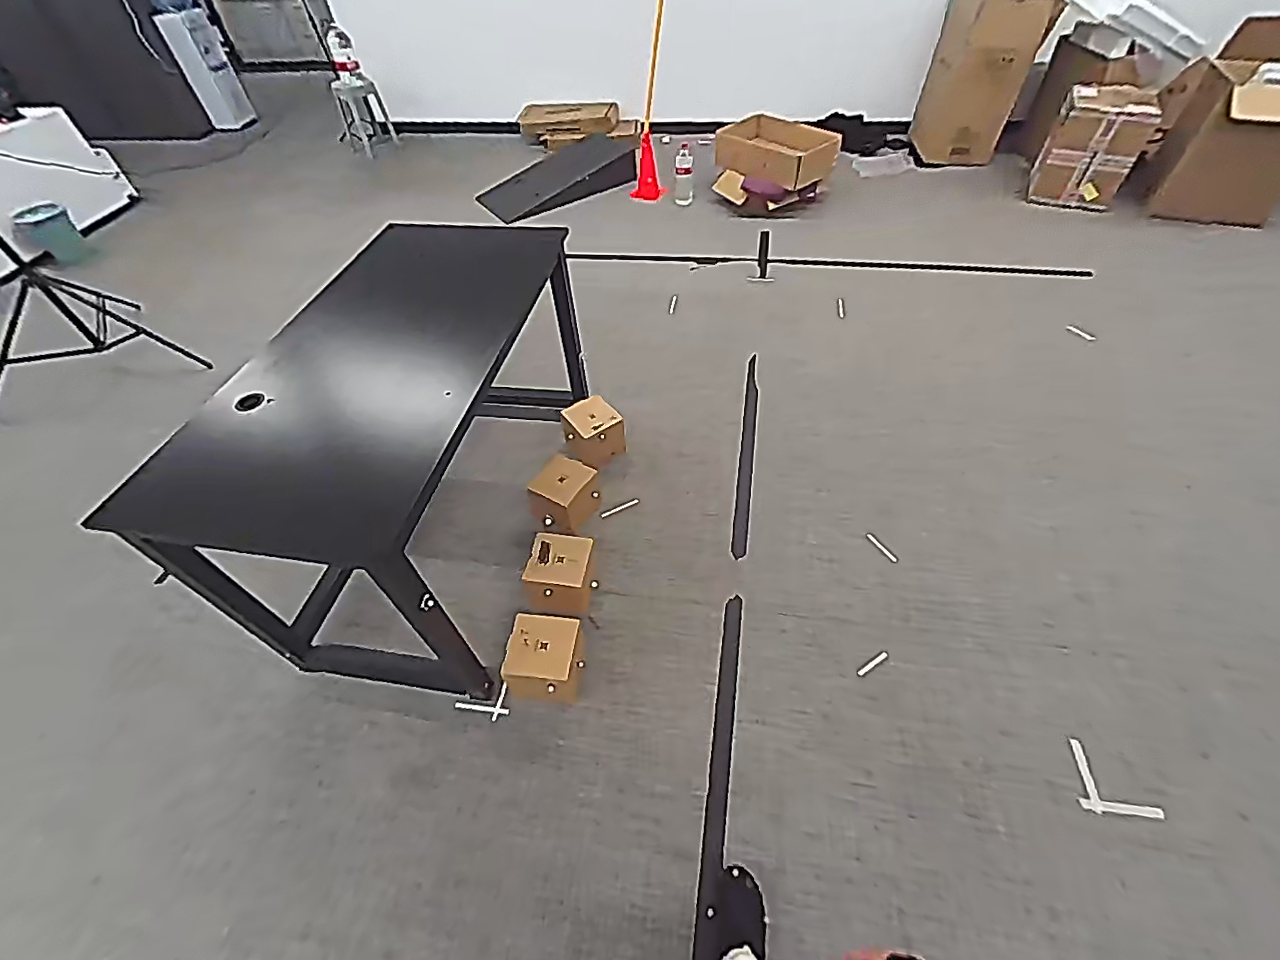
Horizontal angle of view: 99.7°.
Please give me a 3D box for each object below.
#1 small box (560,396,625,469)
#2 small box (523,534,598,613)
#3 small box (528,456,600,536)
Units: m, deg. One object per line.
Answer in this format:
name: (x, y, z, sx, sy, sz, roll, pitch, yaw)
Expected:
small box: (-0.173, -0.173, 2.004, 0.168, 0.176, 0.179, -31, 55, -21)
small box: (-0.232, 0.284, 1.624, 0.179, 0.176, 0.168, 6, 51, 7)
small box: (-0.247, 0.056, 1.820, 0.168, 0.176, 0.179, 22, 56, 22)
